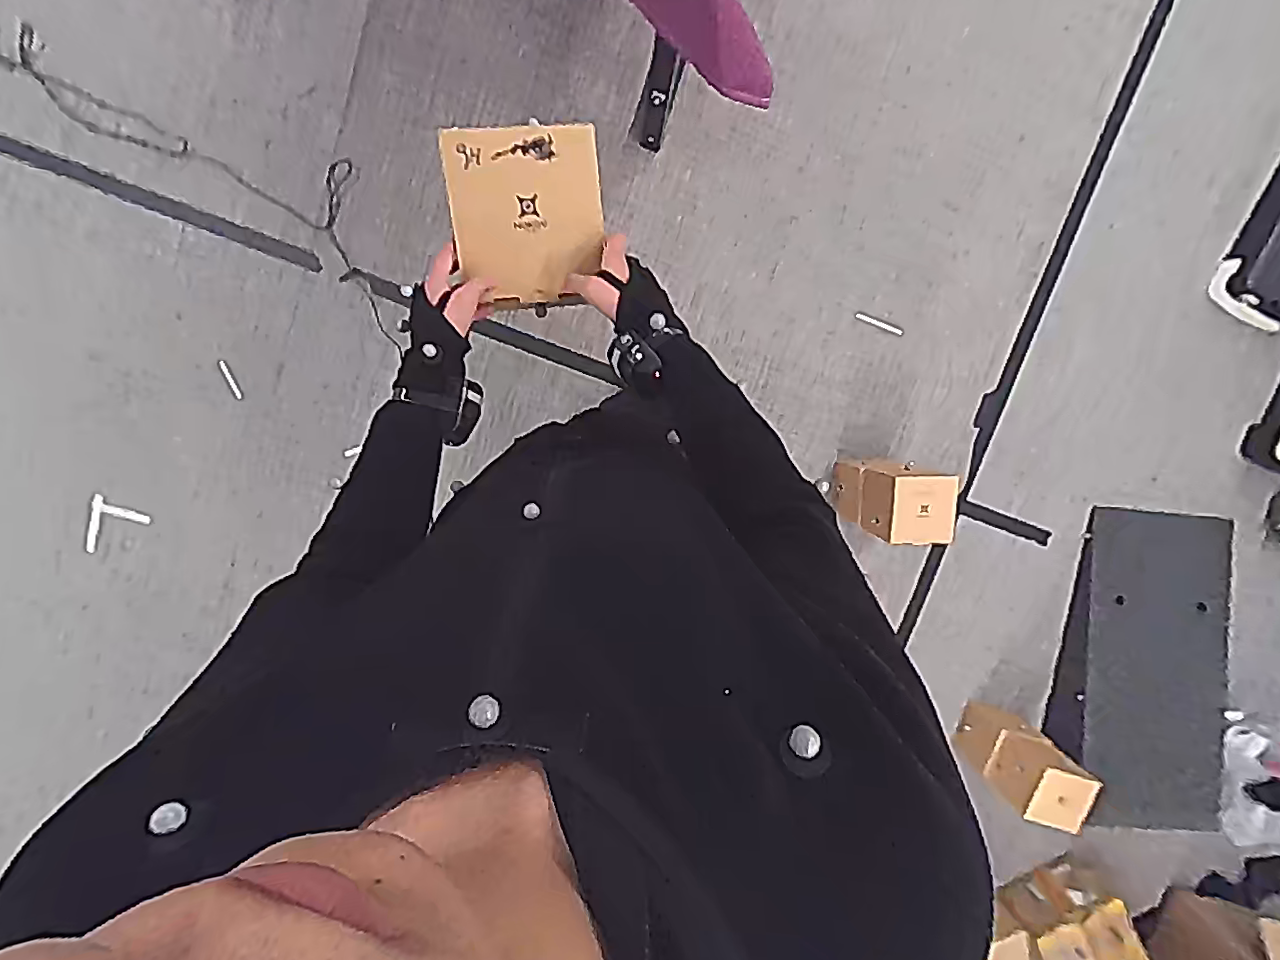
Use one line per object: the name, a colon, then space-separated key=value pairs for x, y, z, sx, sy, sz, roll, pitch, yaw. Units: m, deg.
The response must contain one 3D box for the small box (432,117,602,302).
small box: x=-0.141 y=-0.318 z=0.670 sx=0.168 sy=0.176 sz=0.179 roll=-8 pitch=106 yaw=-7
